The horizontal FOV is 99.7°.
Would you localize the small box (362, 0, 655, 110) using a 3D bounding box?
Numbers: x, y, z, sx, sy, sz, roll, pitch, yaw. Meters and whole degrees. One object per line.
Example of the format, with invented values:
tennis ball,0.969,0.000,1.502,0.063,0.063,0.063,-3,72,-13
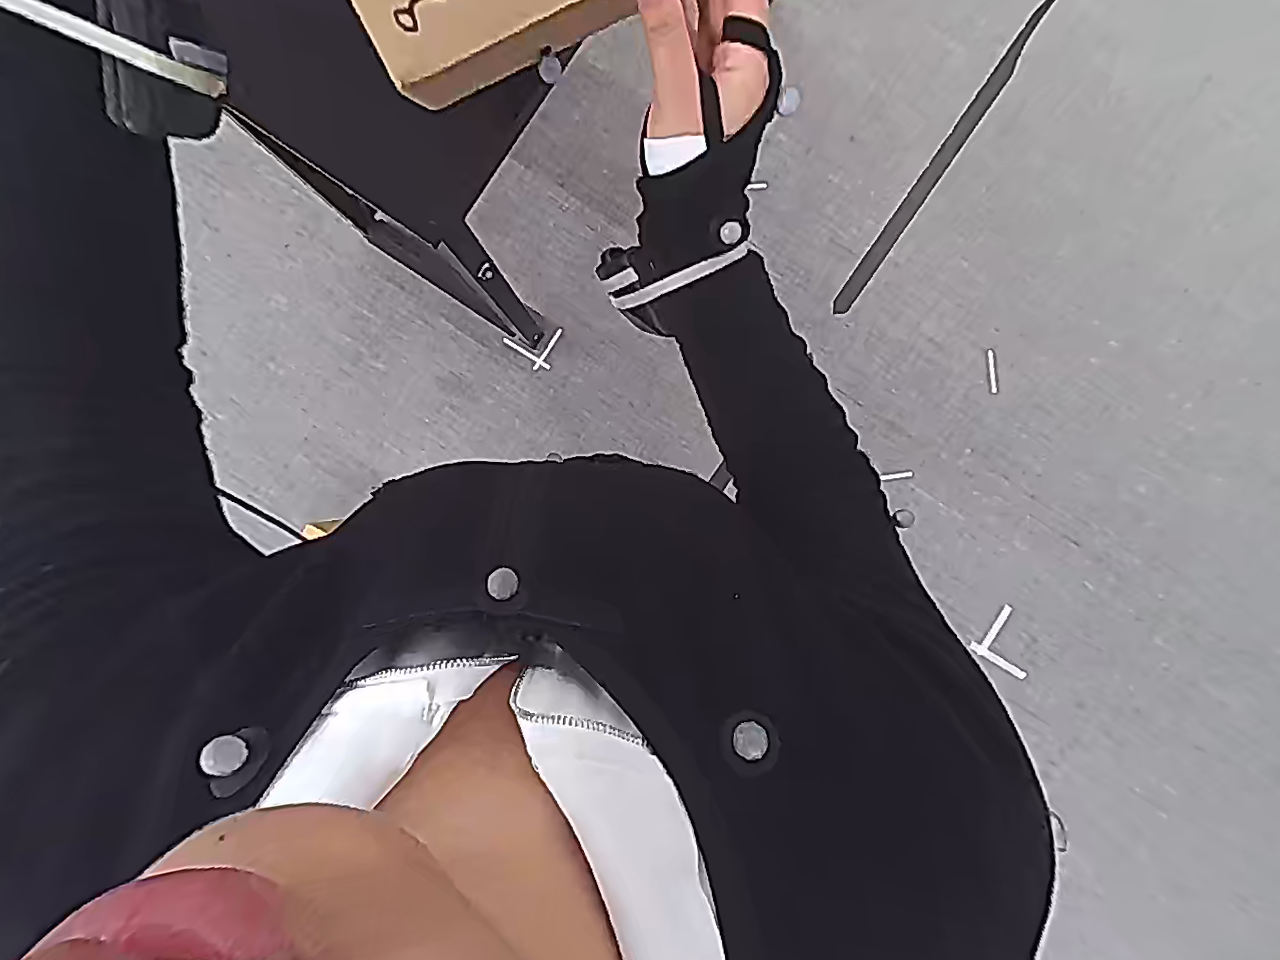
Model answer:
small box,-0.085,-0.328,0.290,0.179,0.176,0.168,-26,123,0
